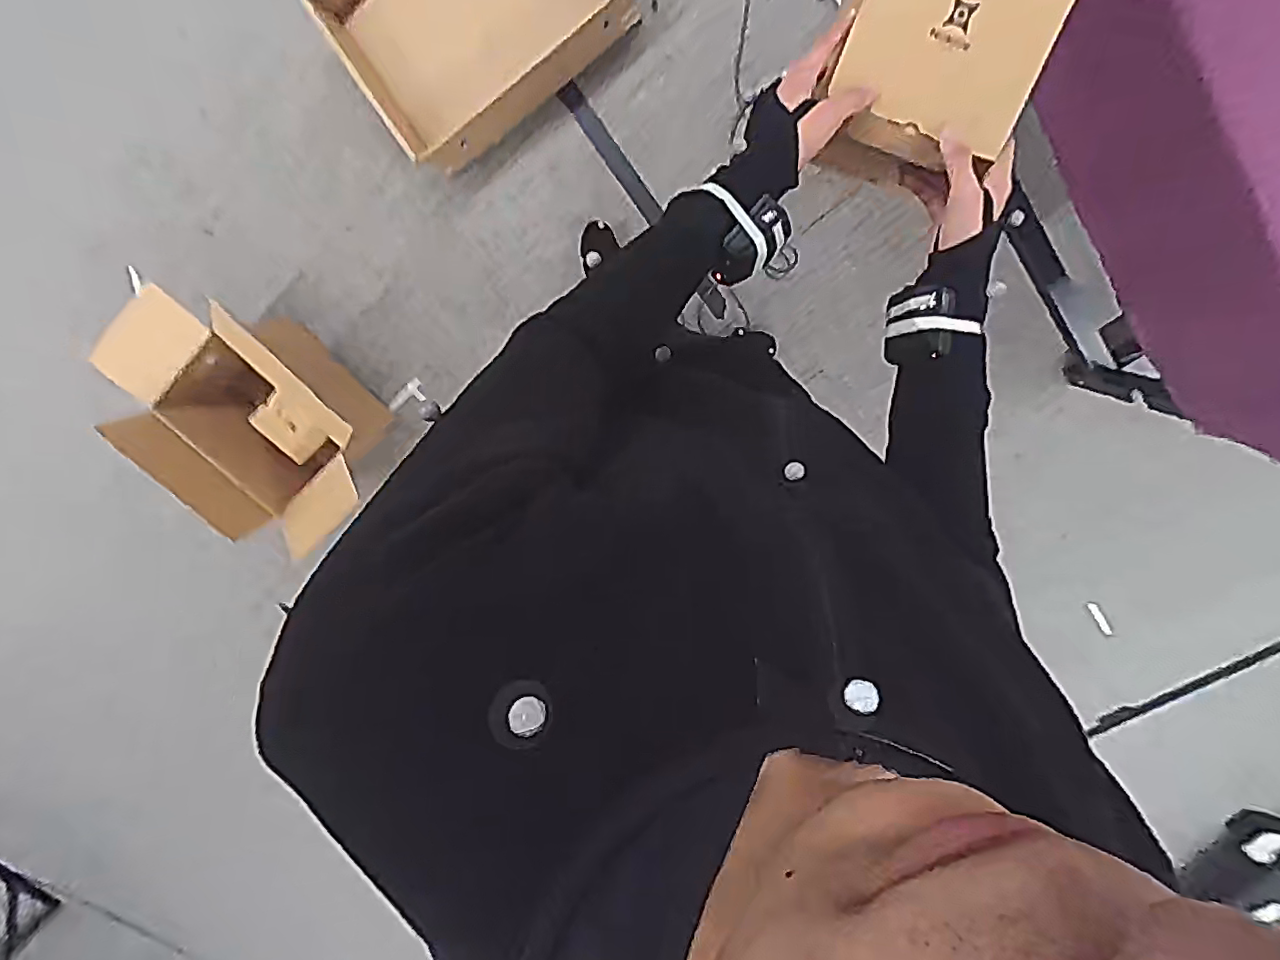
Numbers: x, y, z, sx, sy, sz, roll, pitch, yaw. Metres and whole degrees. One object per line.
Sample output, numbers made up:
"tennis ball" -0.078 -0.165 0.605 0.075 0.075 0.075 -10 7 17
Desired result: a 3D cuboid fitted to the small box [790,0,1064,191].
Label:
"small box" 0.261 -0.408 0.523 0.168 0.176 0.179 19 106 -4
